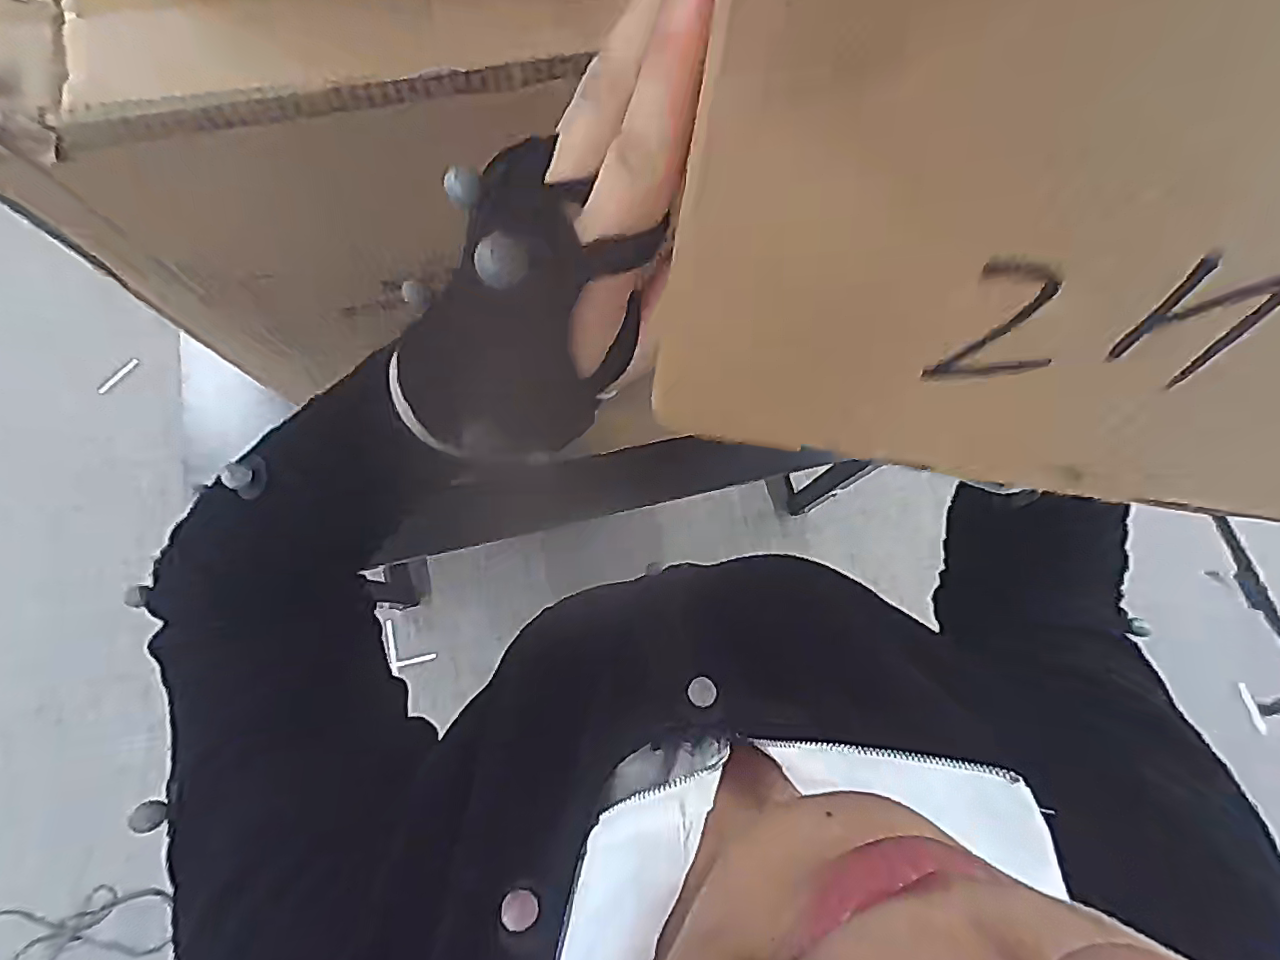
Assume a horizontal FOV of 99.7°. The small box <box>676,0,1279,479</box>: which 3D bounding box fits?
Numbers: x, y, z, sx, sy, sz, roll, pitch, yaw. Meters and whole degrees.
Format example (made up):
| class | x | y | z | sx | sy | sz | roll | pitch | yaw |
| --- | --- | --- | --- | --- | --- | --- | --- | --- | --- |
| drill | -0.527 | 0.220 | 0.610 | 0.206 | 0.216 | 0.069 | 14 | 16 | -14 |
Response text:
| class | x | y | z | sx | sy | sz | roll | pitch | yaw |
| --- | --- | --- | --- | --- | --- | --- | --- | --- | --- |
| small box | 0.104 | -0.124 | 0.103 | 0.168 | 0.179 | 0.176 | 8 | 52 | -1 |
